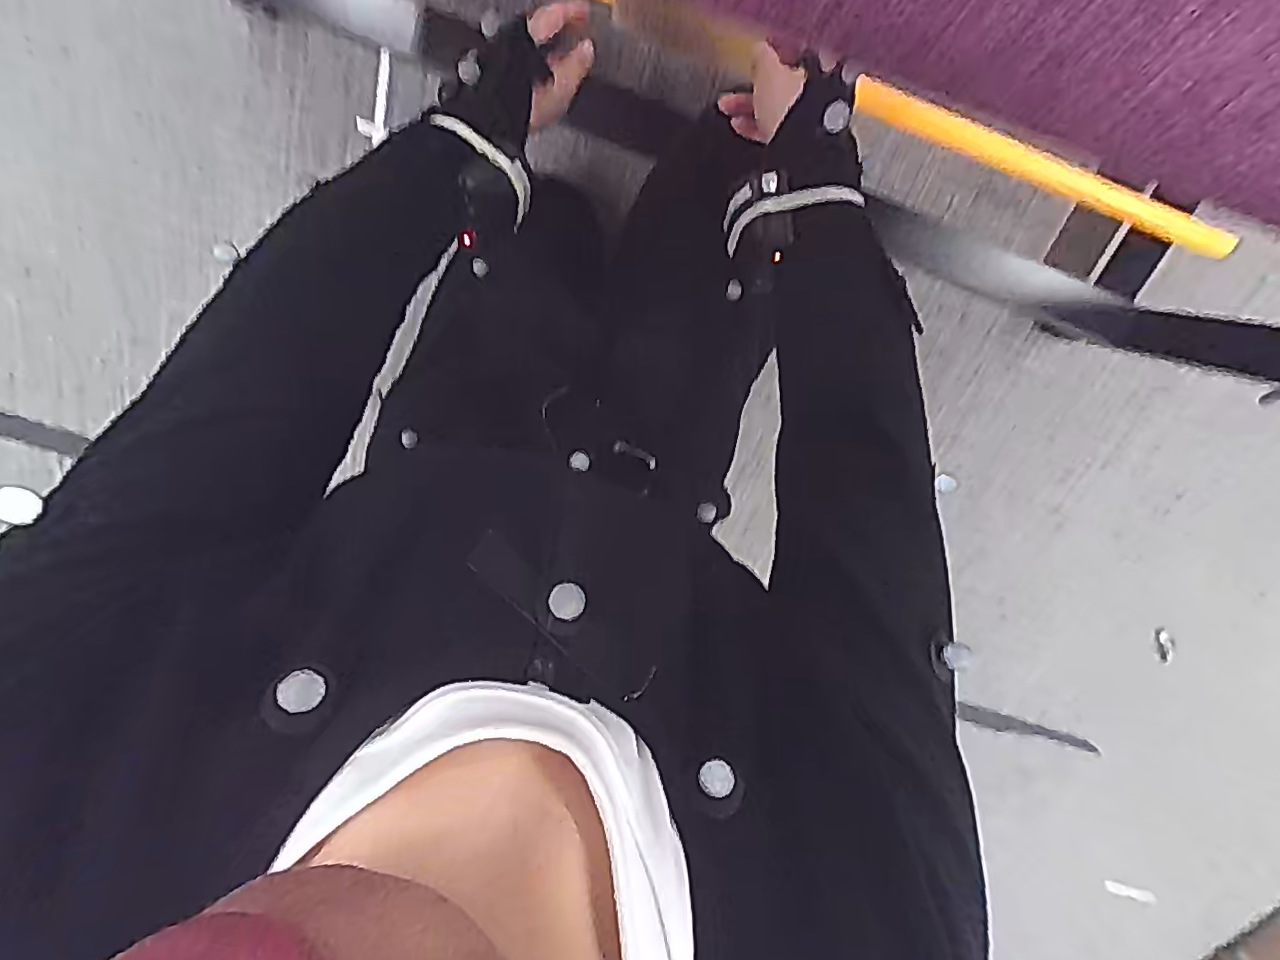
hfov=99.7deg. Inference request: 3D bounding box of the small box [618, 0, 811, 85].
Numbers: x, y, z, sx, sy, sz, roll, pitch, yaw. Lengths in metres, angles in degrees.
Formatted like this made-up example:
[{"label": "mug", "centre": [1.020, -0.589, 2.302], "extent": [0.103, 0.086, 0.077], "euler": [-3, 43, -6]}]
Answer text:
[{"label": "small box", "centre": [0.088, -0.516, 0.495], "extent": [0.179, 0.176, 0.168], "euler": [16, 78, -9]}]
